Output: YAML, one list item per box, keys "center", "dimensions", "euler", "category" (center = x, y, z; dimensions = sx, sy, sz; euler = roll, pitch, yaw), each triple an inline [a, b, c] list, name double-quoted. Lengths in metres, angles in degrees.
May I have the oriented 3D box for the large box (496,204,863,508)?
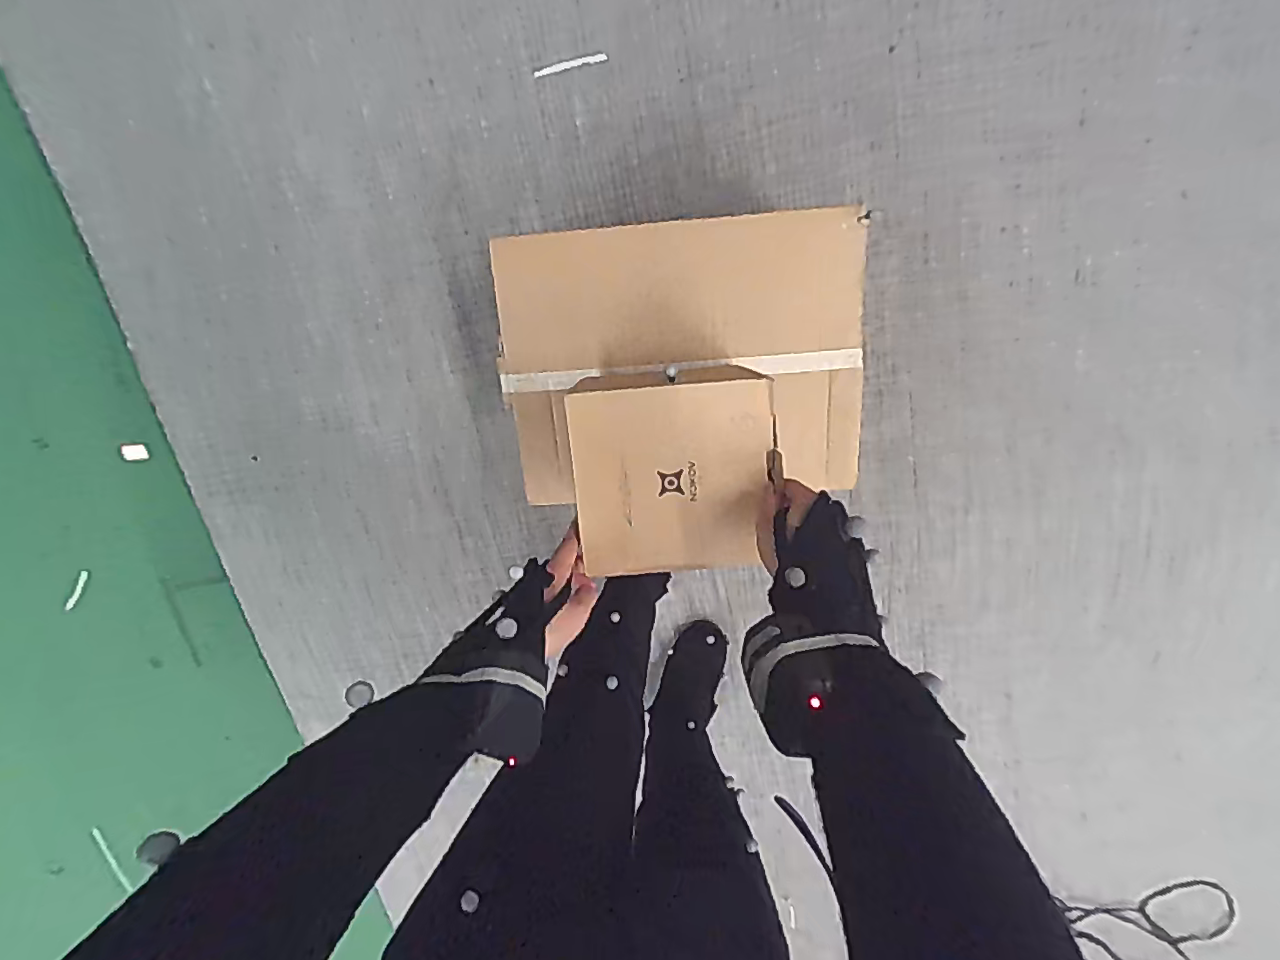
- center: [0.055, -0.170, 0.764]
  dimensions: [0.408, 0.320, 0.320]
  euler: [-4, 108, 3]
  category: "large box"

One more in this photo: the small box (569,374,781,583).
- center: [0.031, -0.013, 0.538]
  dimensions: [0.179, 0.176, 0.168]
  euler: [-5, 104, 1]
  category: "small box"
